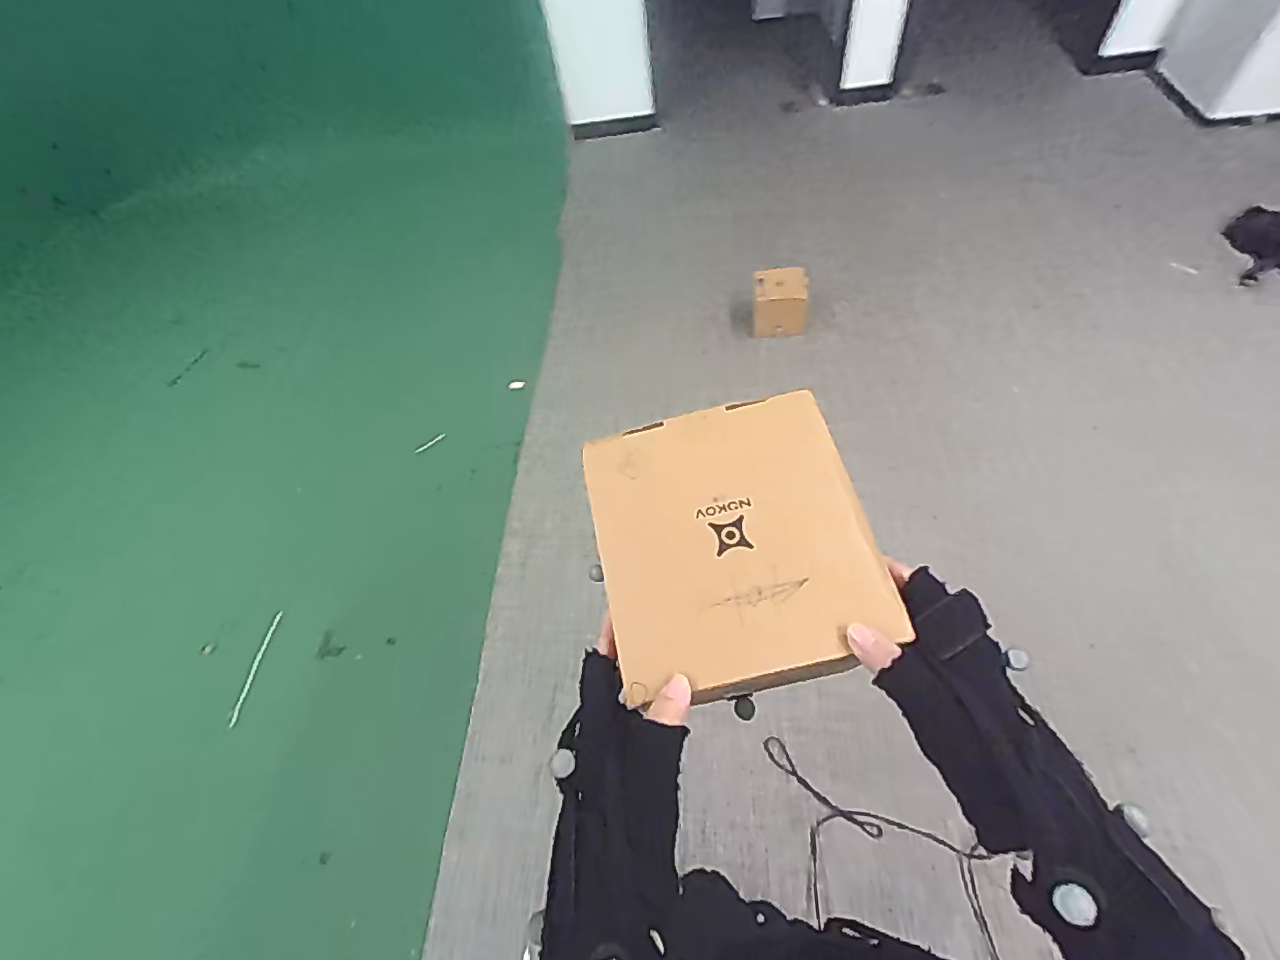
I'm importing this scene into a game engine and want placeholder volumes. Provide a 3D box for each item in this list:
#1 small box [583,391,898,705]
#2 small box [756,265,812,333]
[{"bbox_3d":[0.061,0.063,0.412,0.168,0.176,0.179,-12,65,3],"label":"small box"},{"bbox_3d":[0.511,-0.645,1.938,0.179,0.176,0.168,0,57,10],"label":"small box"}]
